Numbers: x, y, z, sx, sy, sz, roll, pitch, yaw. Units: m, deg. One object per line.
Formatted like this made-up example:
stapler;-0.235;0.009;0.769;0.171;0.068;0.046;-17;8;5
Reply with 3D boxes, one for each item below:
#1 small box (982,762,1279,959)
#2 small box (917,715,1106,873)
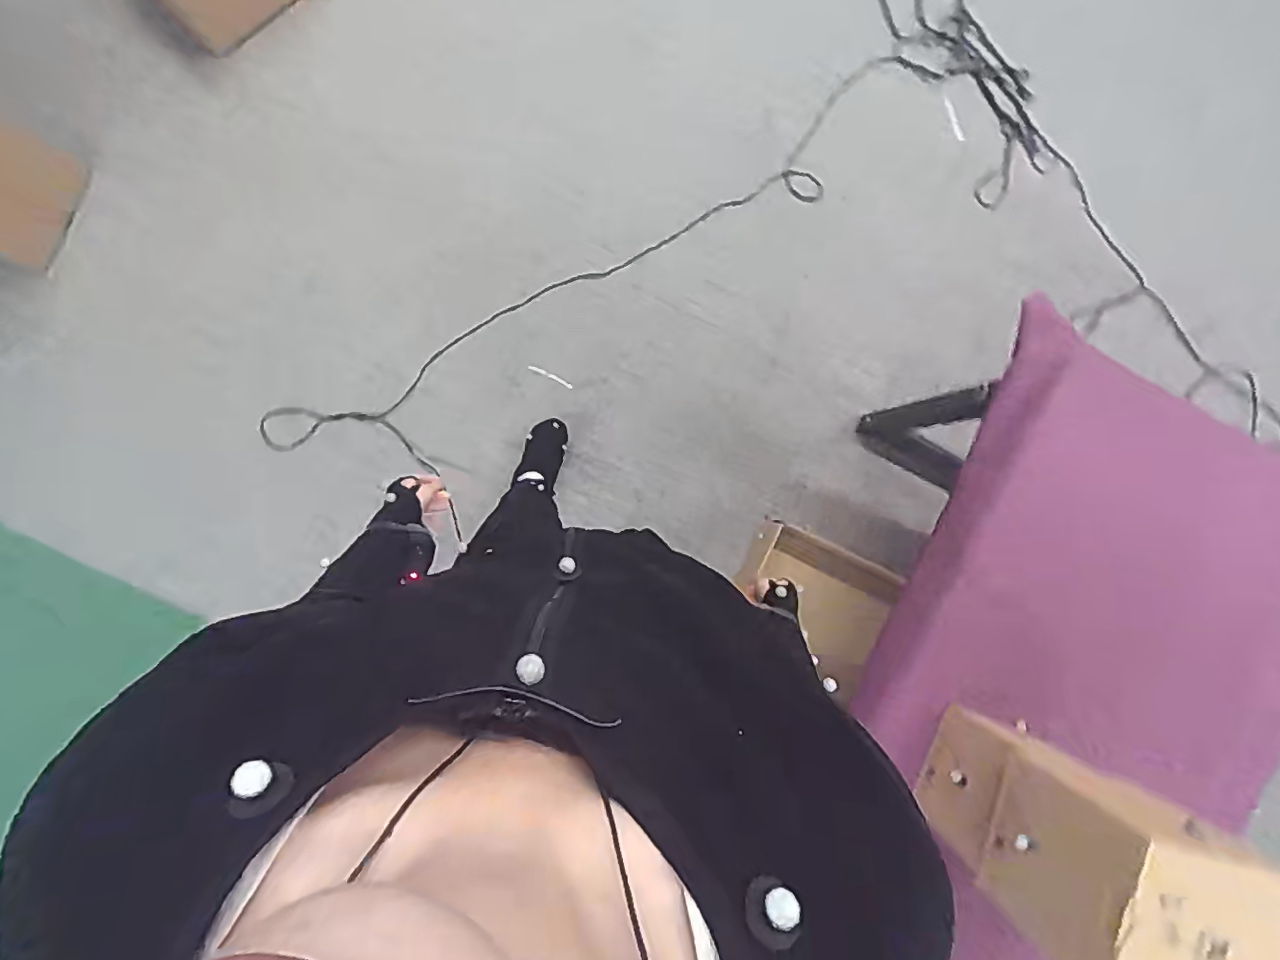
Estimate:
small box;0.514;0.430;0.570;0.179;0.176;0.168;18;87;-4
small box;0.520;0.449;0.736;0.179;0.176;0.168;24;88;-3
